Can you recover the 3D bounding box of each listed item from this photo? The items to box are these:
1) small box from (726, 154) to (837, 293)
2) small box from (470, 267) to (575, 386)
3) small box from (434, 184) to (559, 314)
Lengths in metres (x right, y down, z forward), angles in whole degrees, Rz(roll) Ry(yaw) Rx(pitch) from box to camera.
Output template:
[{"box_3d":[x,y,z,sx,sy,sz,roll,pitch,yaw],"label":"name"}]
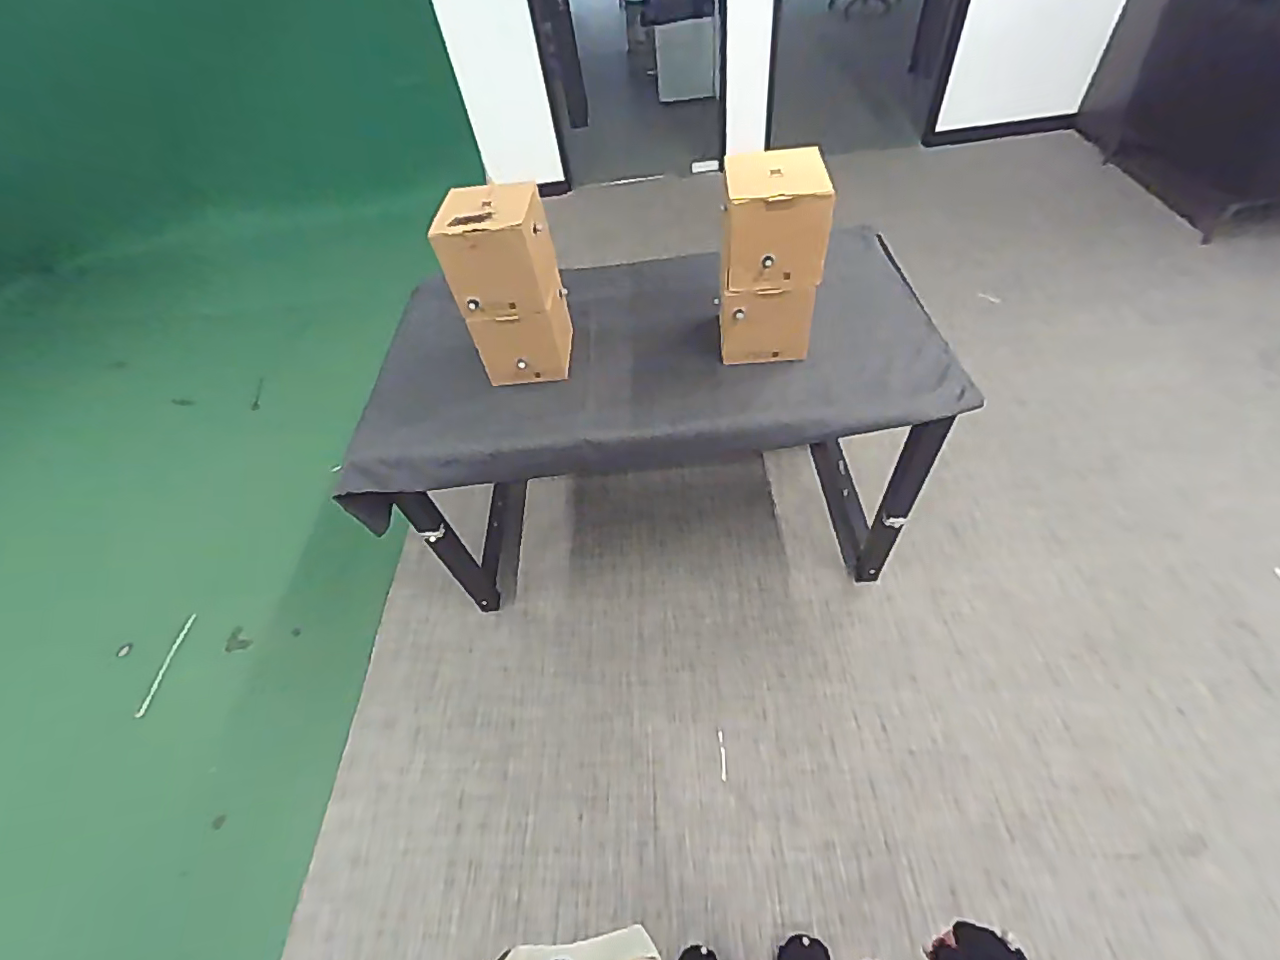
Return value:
[{"box_3d":[0.244,-0.462,0.979,0.168,0.176,0.179,-2,51,6],"label":"small box"},{"box_3d":[-0.237,-0.322,1.142,0.168,0.176,0.179,-4,51,5],"label":"small box"},{"box_3d":[-0.257,-0.427,1.017,0.168,0.176,0.179,-3,50,5],"label":"small box"}]
